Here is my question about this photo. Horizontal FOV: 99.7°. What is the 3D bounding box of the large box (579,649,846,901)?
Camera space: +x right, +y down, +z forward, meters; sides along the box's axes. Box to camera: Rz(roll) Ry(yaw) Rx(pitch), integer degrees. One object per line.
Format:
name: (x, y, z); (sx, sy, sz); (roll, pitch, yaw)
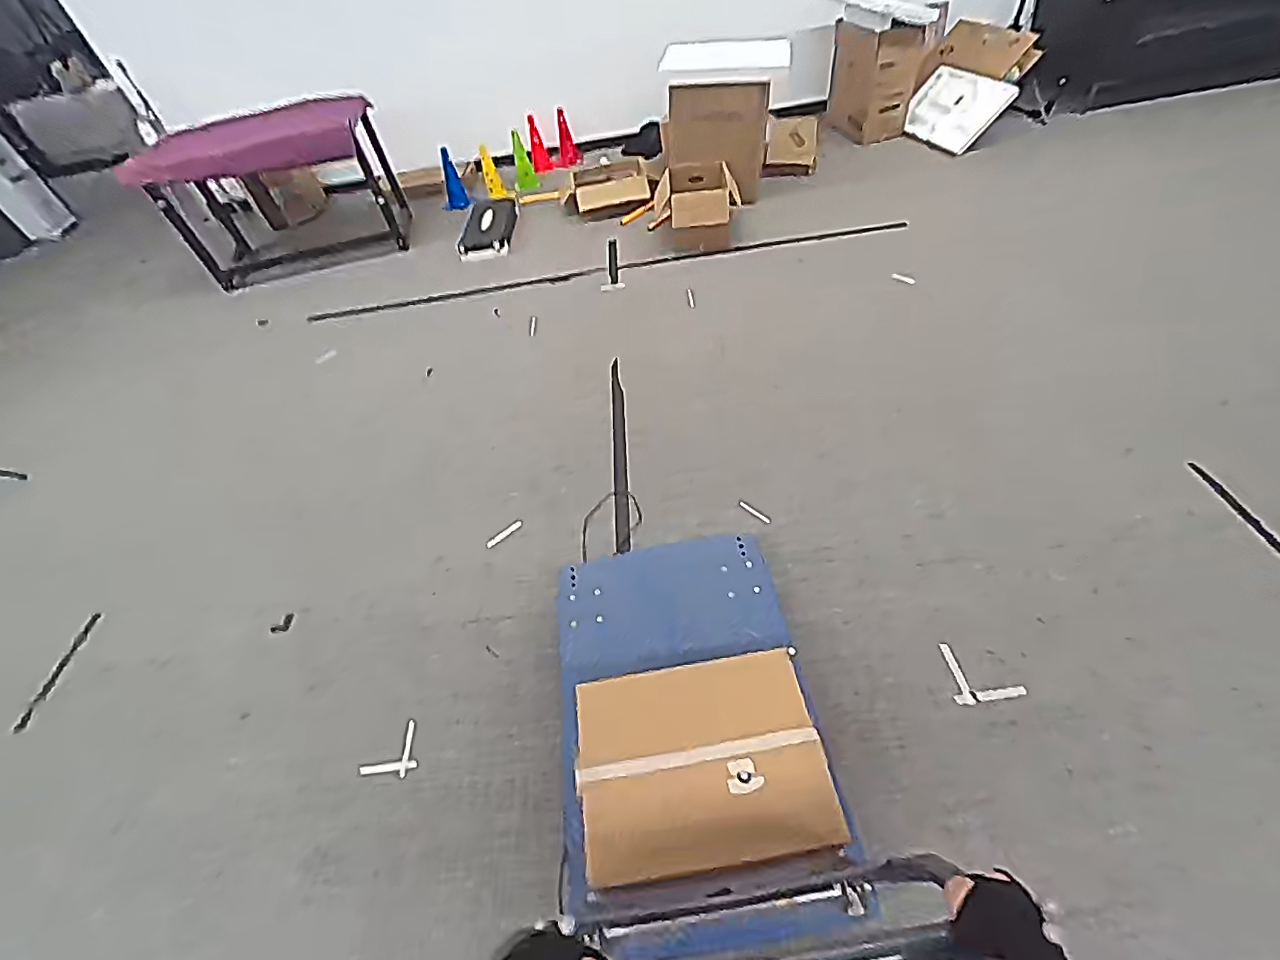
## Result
large box: (0.117, 0.565, 1.031); (0.408, 0.320, 0.320); (-10, 50, -1)
